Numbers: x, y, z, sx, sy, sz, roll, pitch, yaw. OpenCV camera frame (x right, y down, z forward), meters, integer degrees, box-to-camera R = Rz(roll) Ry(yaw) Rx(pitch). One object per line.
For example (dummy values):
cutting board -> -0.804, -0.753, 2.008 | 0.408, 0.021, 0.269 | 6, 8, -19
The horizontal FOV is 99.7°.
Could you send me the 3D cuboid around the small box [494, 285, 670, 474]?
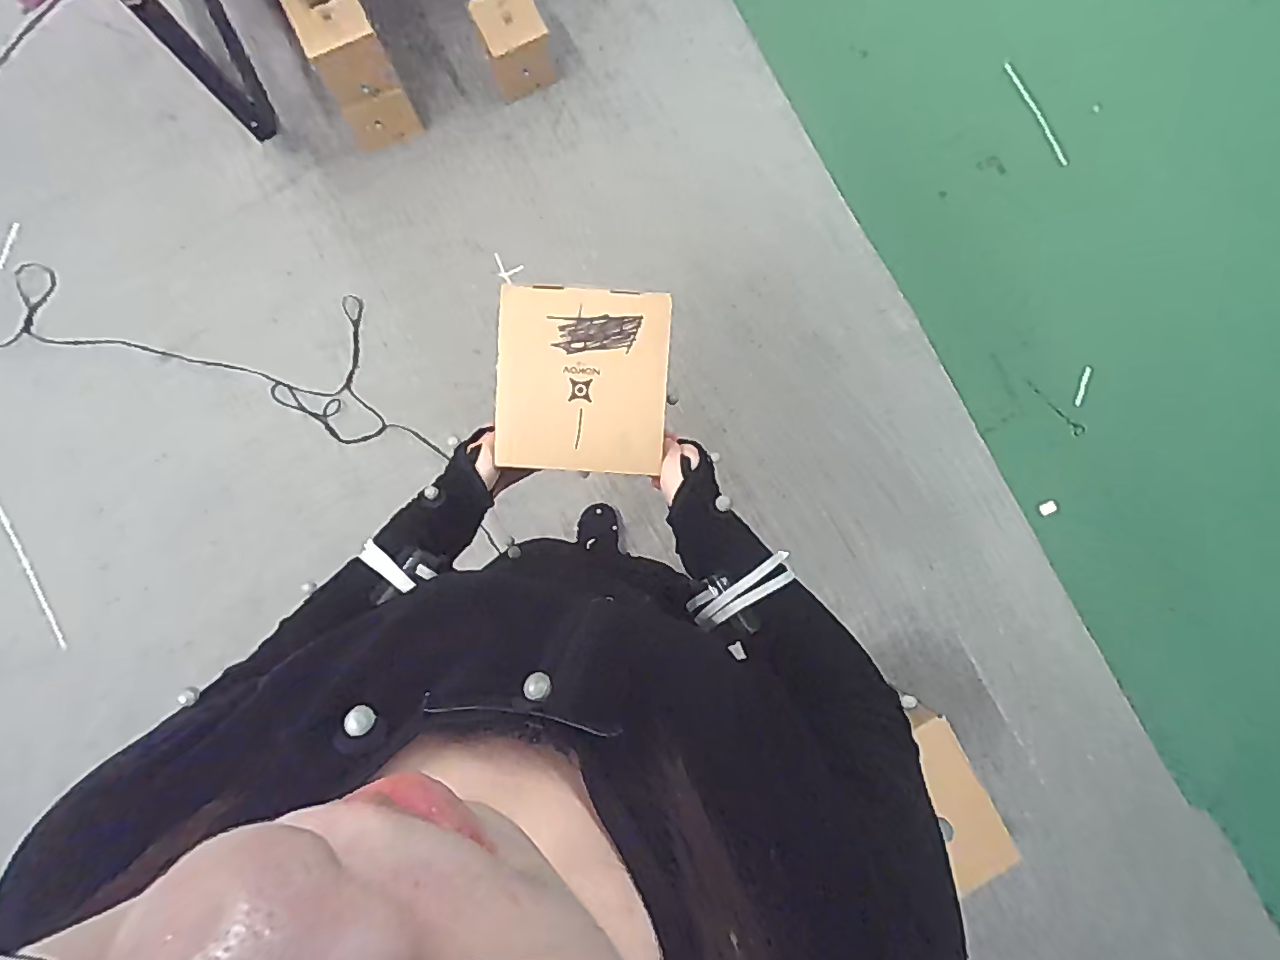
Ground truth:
small box -> -0.059, -0.106, 0.612 | 0.168, 0.176, 0.179 | 4, 97, 0
